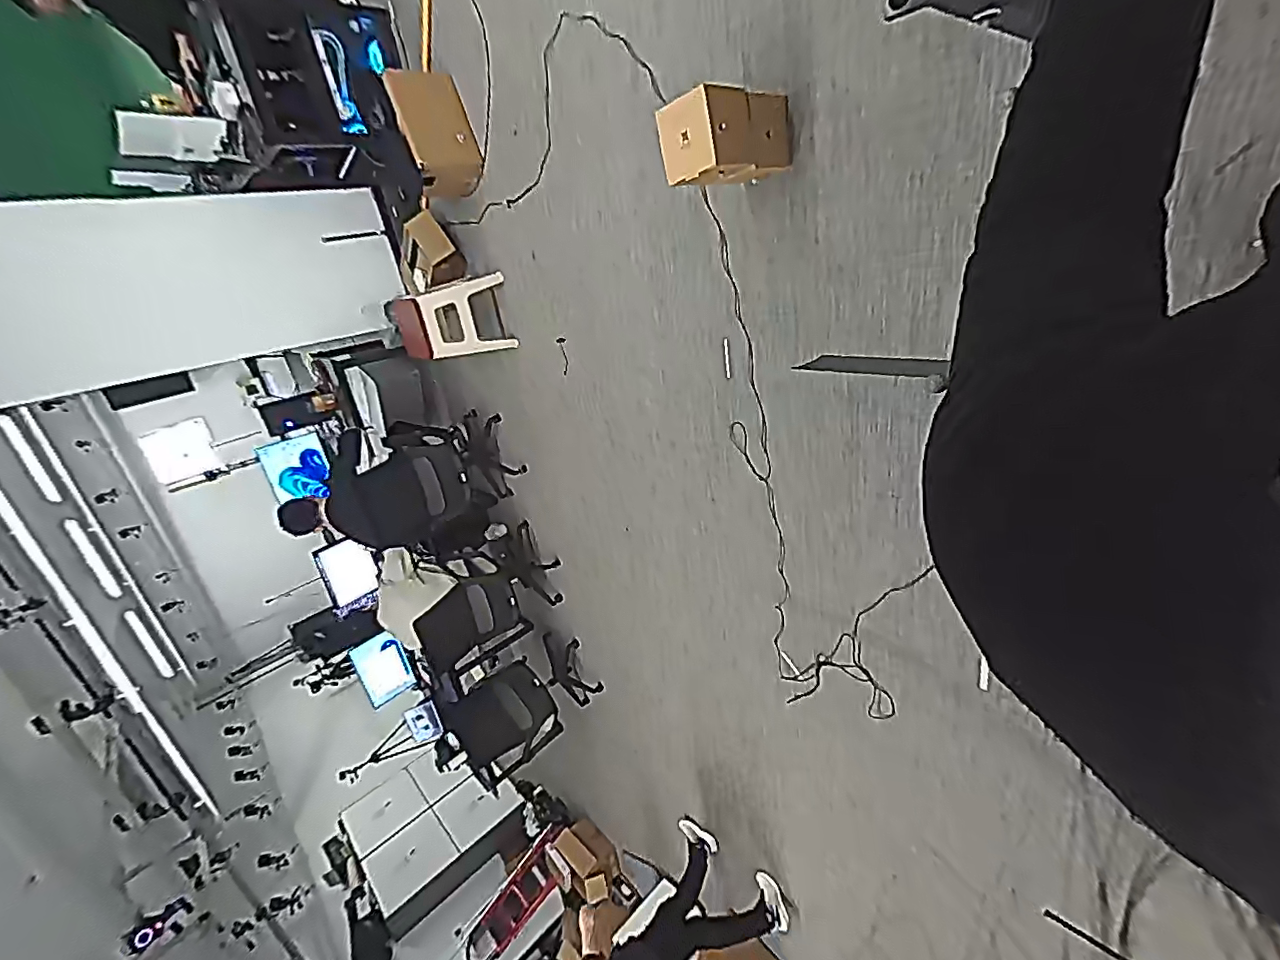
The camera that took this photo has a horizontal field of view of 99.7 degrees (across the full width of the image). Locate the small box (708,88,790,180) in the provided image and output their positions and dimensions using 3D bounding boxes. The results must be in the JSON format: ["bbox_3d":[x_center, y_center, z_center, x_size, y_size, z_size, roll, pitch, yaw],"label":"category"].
[{"bbox_3d":[0.288,-0.933,1.468,0.168,0.176,0.179,12,122,47],"label":"small box"}]

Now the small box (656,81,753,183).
[{"bbox_3d":[0.170,-0.877,1.372,0.168,0.176,0.179,8,117,48],"label":"small box"}]
